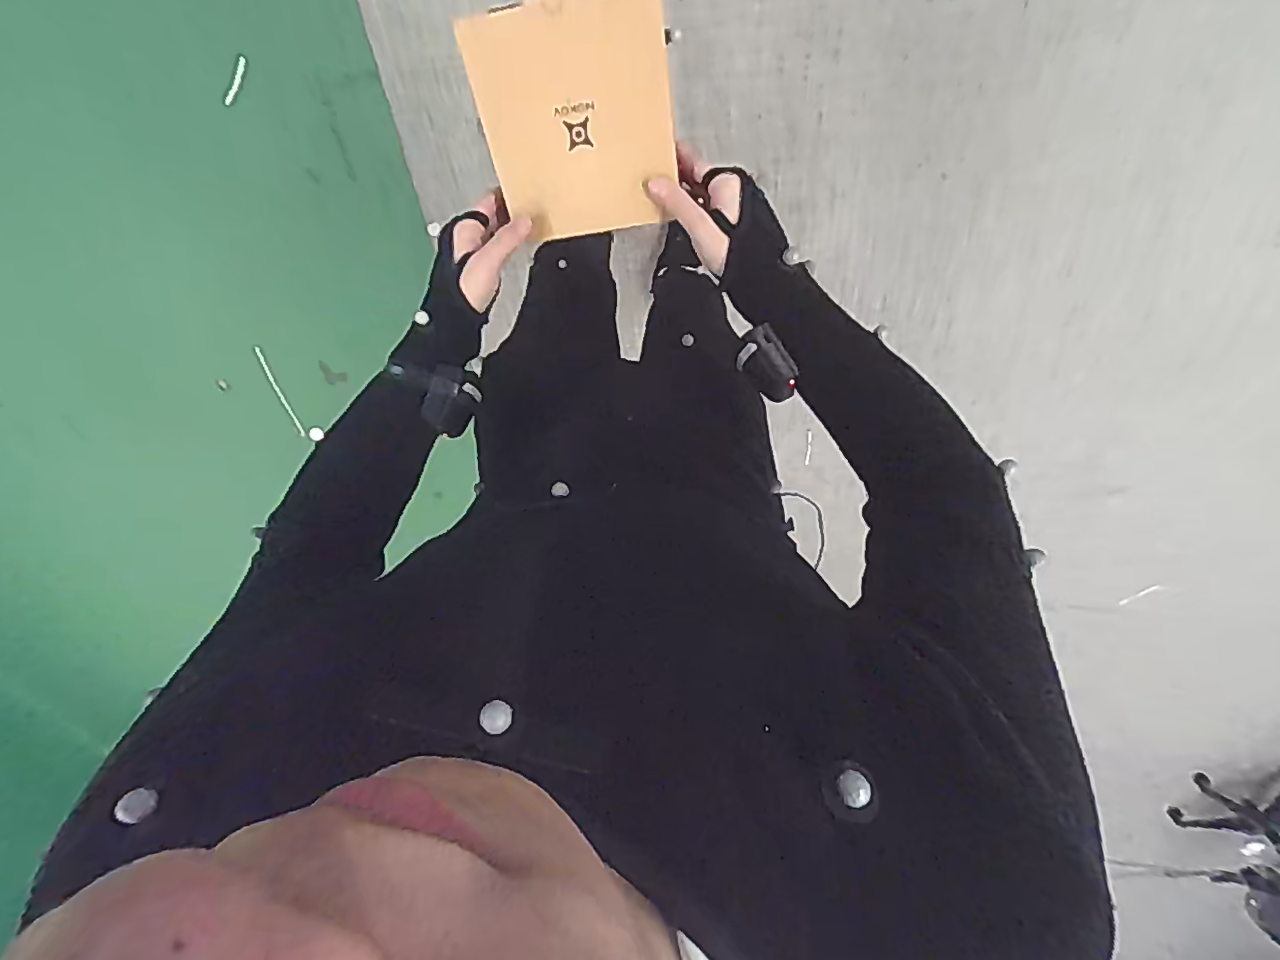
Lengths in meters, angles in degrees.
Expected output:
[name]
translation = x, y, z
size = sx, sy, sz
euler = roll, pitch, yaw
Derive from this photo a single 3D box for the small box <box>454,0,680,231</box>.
[small box]
translation = -0.050, -0.370, 0.530
size = 0.168, 0.176, 0.179
euler = -5, 130, 8
